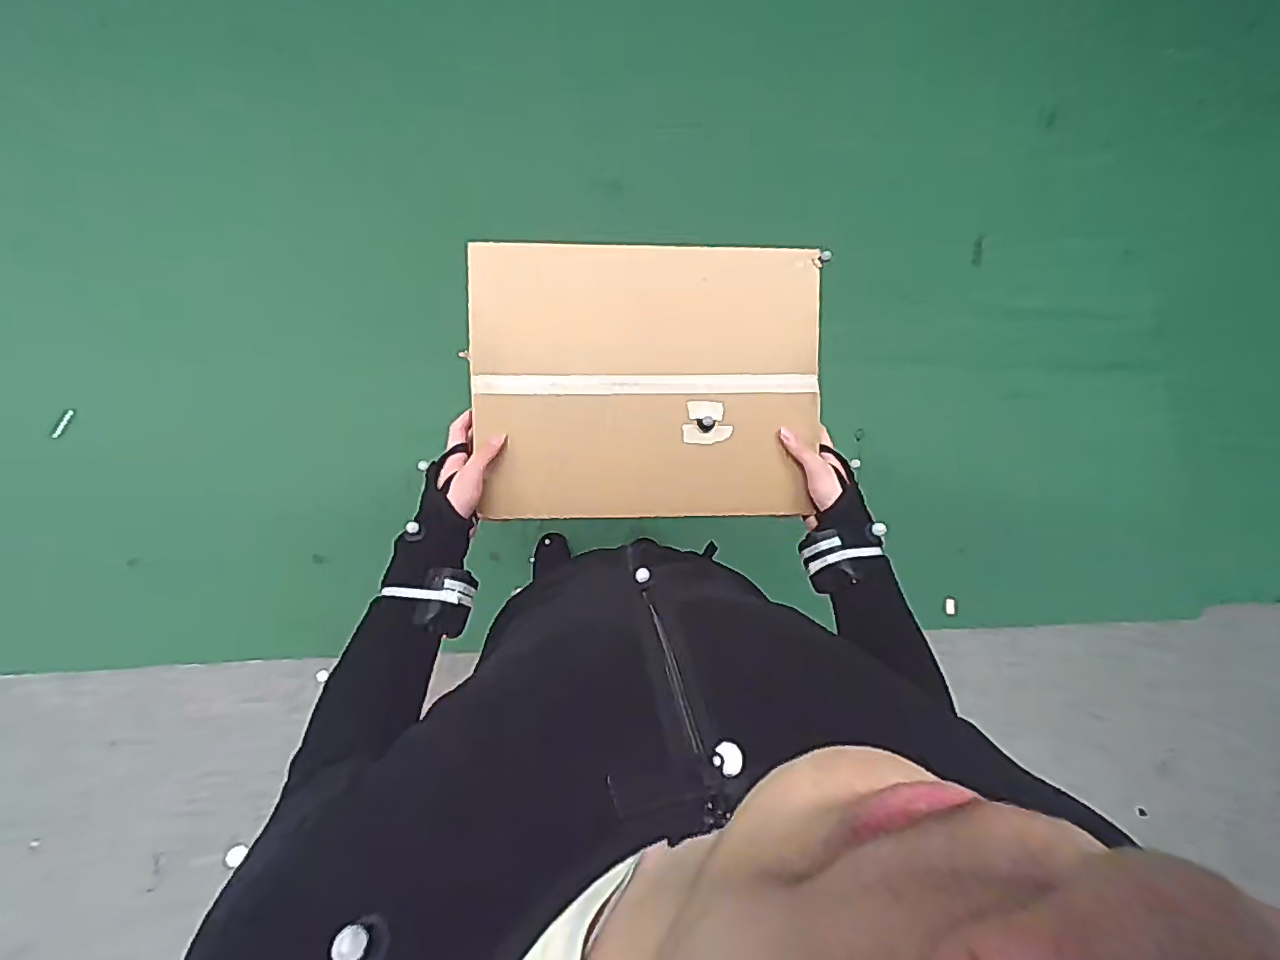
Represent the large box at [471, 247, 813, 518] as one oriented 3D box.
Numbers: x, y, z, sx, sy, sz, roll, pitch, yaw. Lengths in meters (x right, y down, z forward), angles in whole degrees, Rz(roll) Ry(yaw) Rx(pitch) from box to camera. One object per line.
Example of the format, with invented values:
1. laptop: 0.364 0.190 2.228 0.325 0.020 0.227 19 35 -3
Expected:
1. large box: -0.004 -0.125 0.784 0.408 0.320 0.320 -1 95 -5
